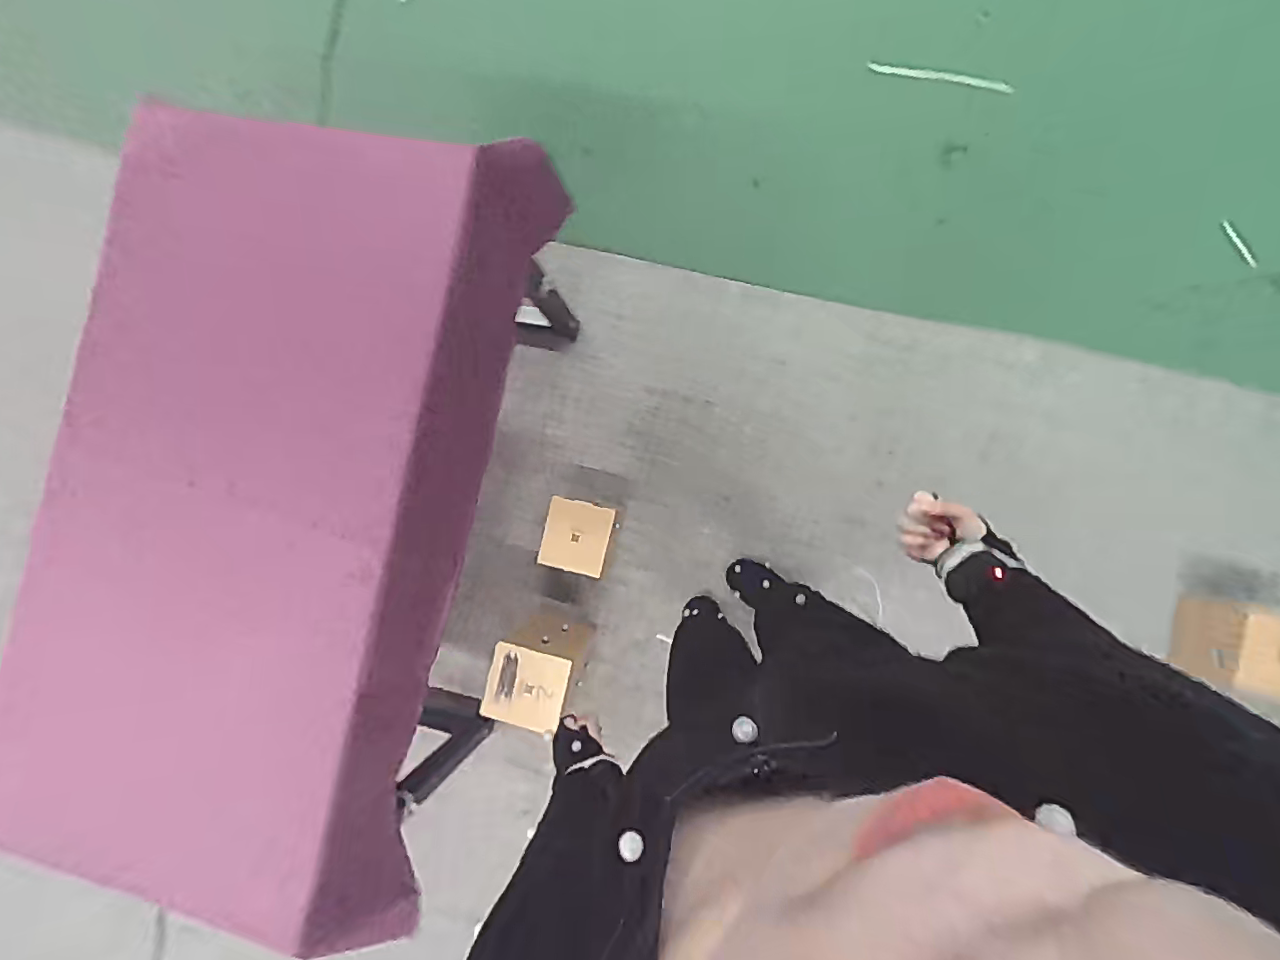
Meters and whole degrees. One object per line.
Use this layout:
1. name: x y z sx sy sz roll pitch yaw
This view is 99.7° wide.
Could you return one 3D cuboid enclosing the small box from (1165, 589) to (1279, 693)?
1. small box: 1.339 0.357 1.207 0.168 0.176 0.179 13 89 7
